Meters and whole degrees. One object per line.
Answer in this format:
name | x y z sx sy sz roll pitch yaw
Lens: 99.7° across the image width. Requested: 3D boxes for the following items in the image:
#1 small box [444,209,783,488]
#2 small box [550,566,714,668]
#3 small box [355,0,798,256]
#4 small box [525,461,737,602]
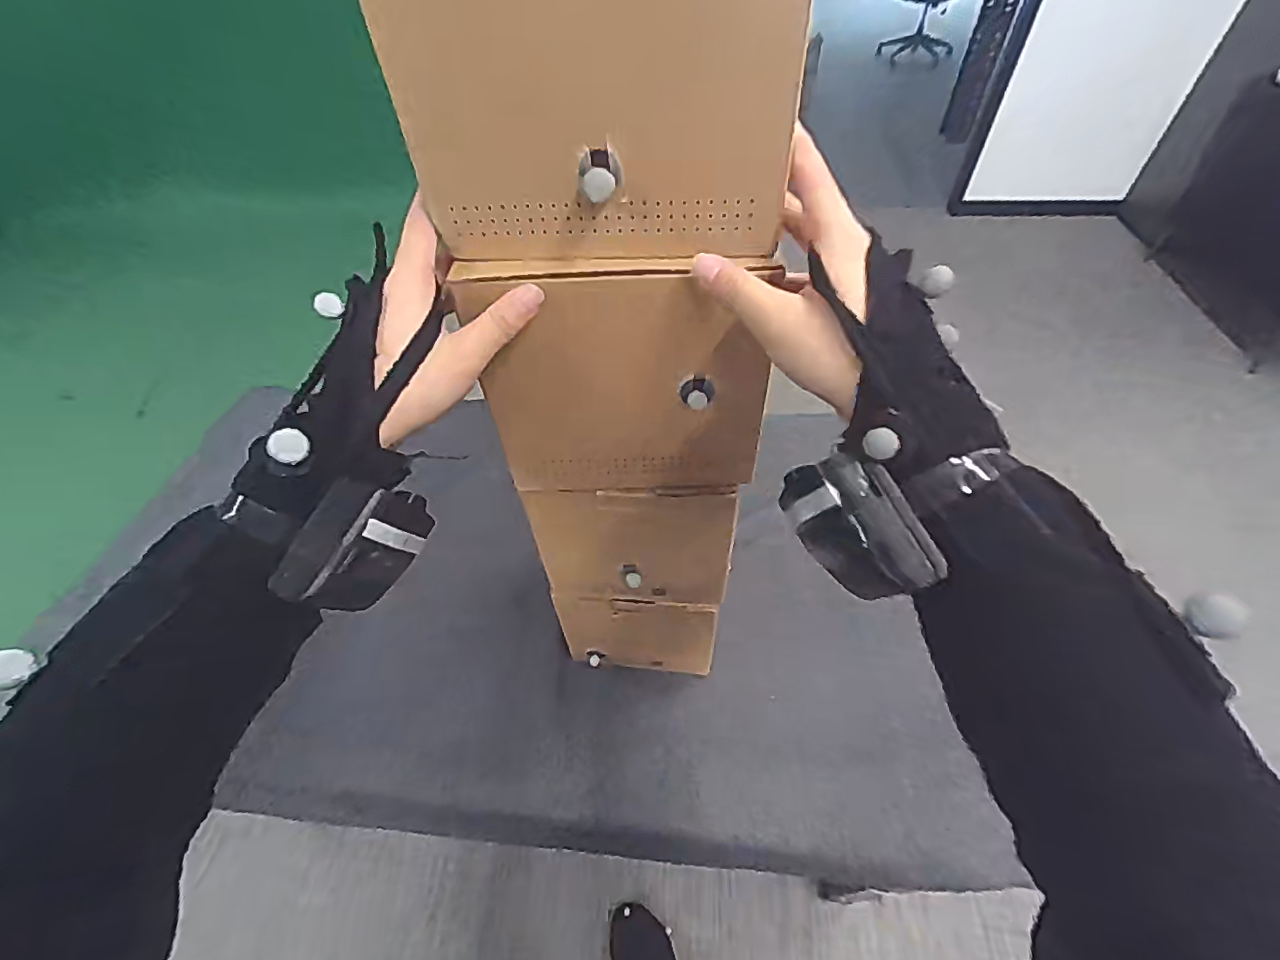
small box | -0.010 -0.108 0.385 0.179 0.176 0.168 -2 48 3
small box | 0.005 0.103 0.635 0.168 0.176 0.179 4 49 6
small box | -0.018 -0.228 0.272 0.179 0.176 0.168 1 49 5
small box | 0.000 -0.006 0.511 0.168 0.176 0.179 2 50 6
